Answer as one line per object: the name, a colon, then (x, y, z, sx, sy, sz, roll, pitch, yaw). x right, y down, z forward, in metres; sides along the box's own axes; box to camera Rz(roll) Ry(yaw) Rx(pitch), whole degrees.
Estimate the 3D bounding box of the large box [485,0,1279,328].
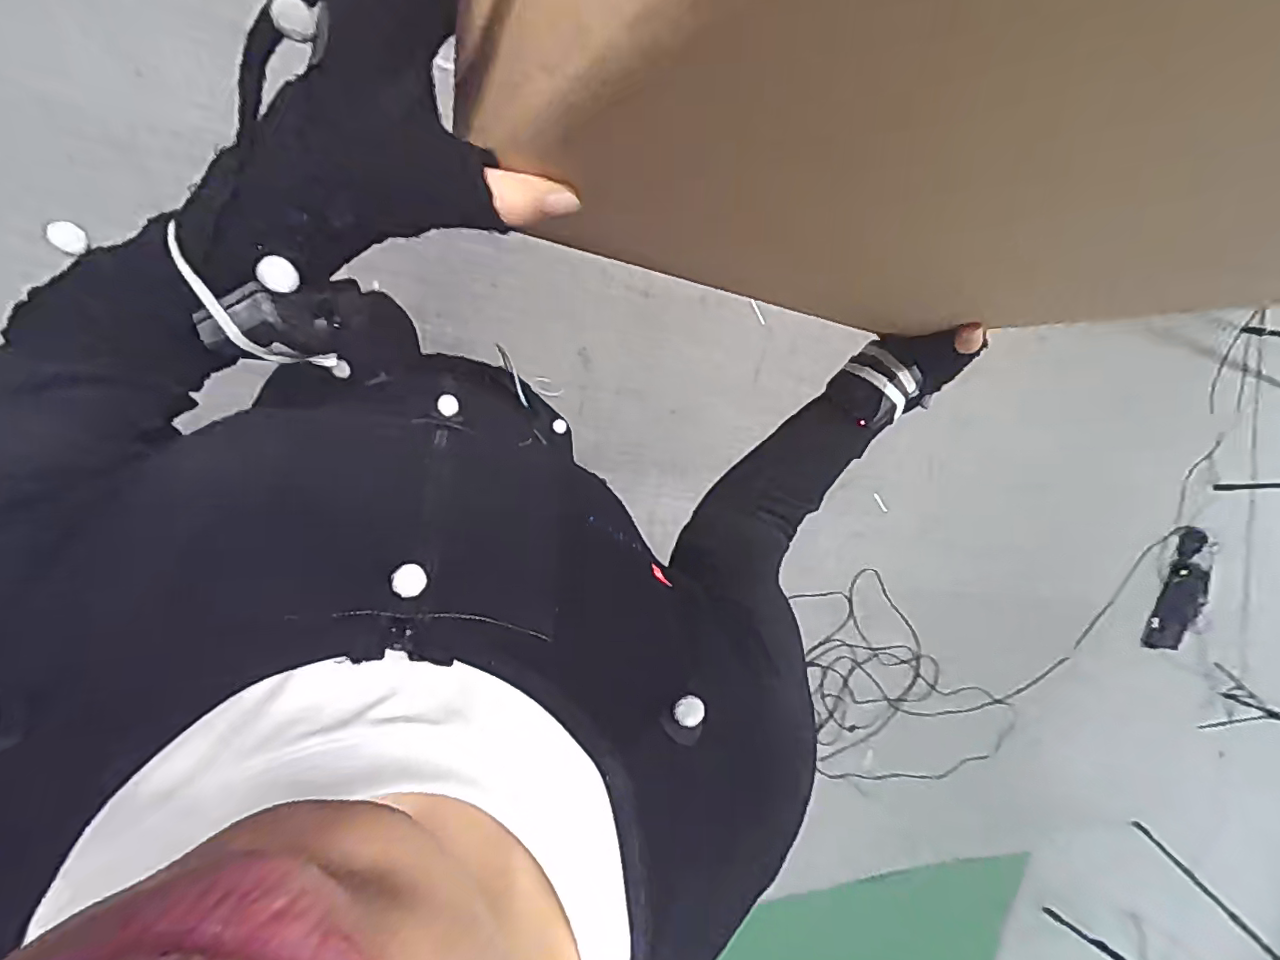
large box: (0.176, -0.263, 0.243, 0.408, 0.320, 0.320, -1, 100, -38)
